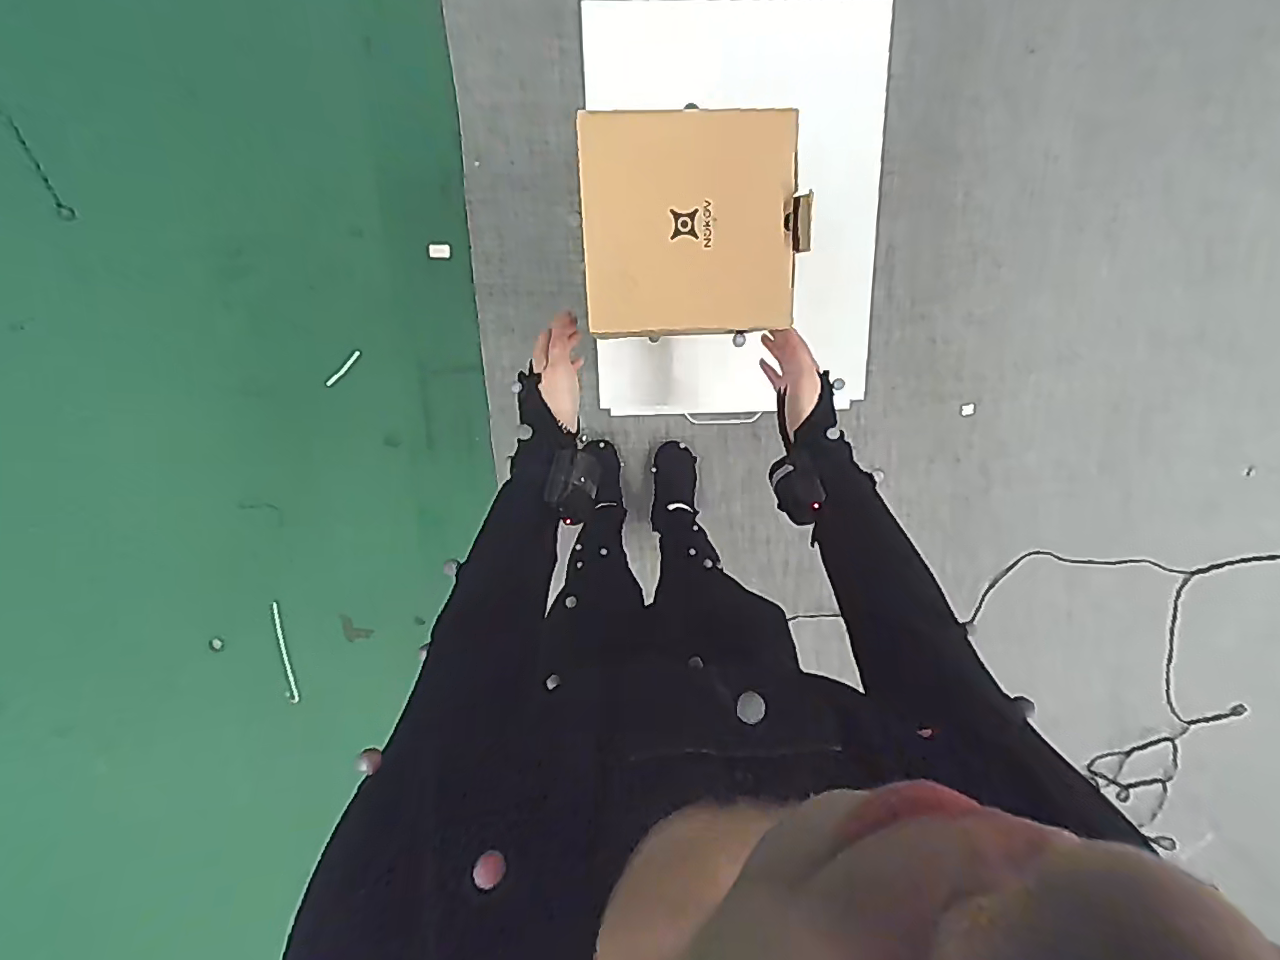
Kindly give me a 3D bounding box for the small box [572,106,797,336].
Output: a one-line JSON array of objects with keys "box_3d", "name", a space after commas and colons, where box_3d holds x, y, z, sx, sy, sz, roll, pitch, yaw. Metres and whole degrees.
[{"box_3d": [0.034, -0.225, 0.511, 0.179, 0.176, 0.168, -3, 104, -3], "name": "small box"}]
